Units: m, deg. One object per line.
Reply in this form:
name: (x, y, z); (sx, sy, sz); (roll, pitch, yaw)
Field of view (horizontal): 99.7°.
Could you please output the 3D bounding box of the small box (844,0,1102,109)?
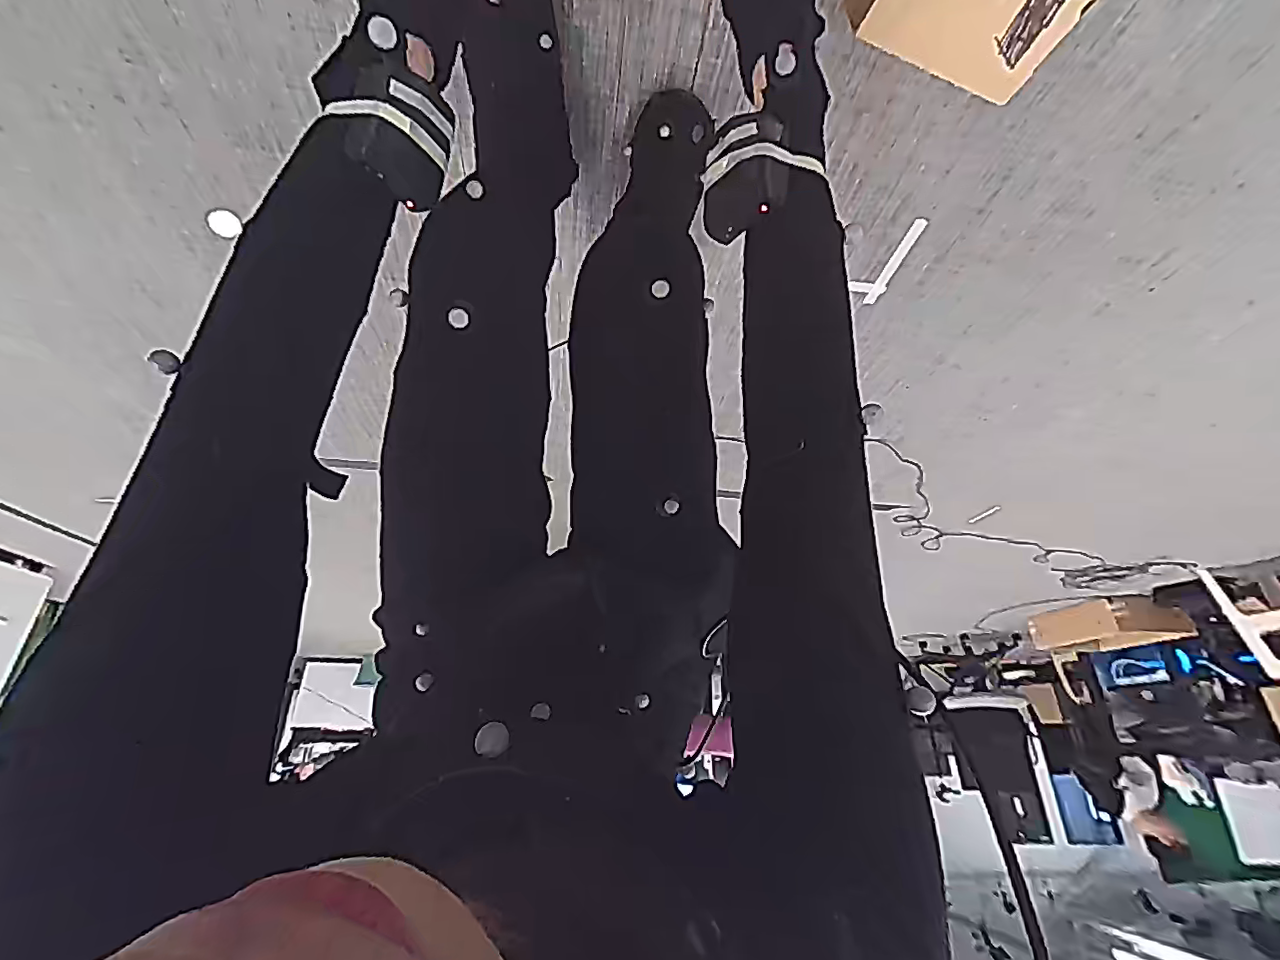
small box: (0.292, -0.470, 0.455); (0.179, 0.176, 0.168); (11, 152, -17)
